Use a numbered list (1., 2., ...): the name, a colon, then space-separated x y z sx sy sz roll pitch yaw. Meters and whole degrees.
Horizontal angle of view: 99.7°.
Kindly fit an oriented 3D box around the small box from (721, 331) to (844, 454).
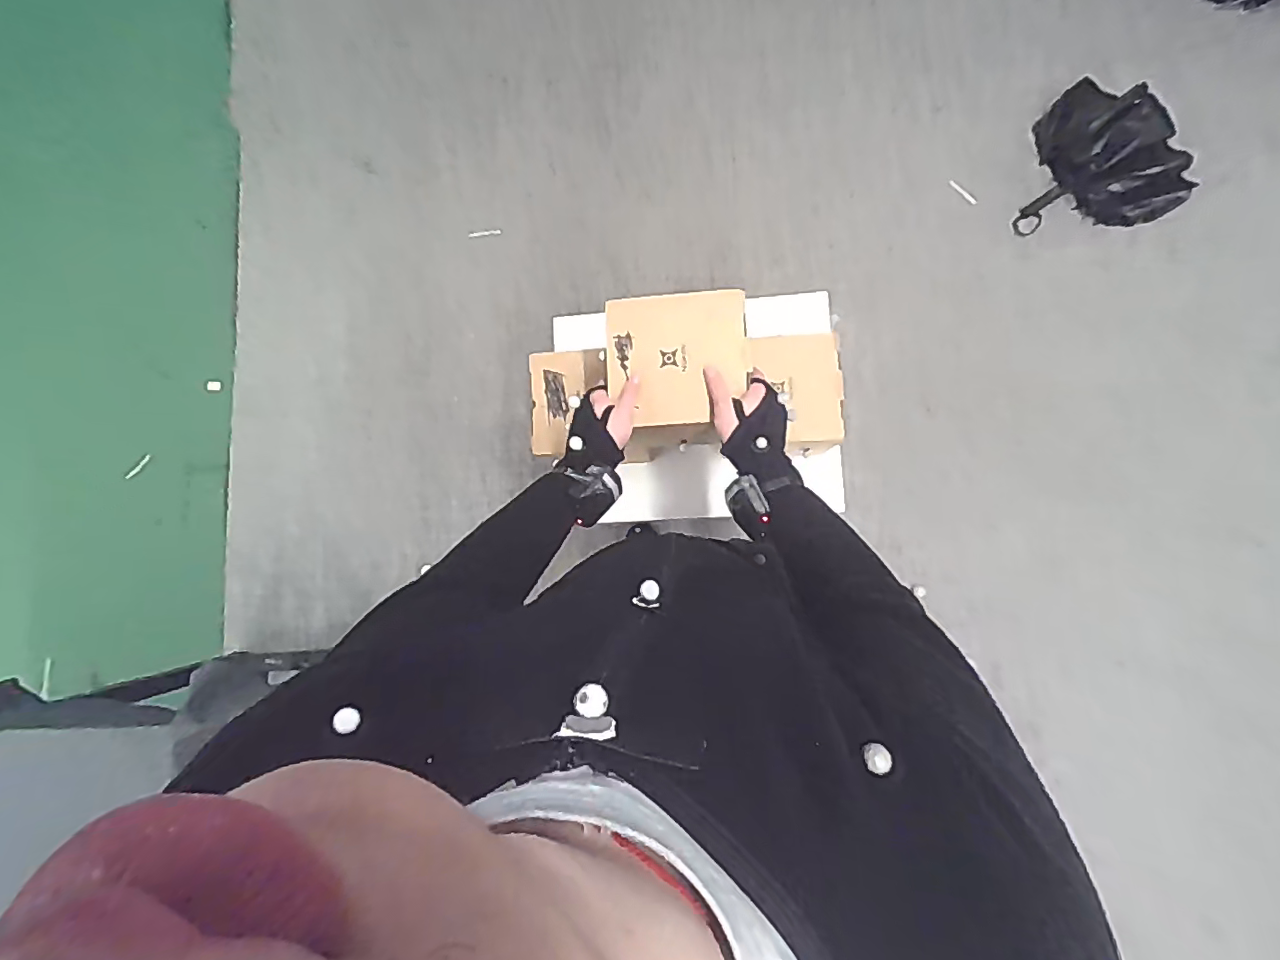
1. small box: 0.221 -0.134 0.884 0.179 0.176 0.168 -2 85 8

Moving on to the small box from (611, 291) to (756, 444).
1. small box: 0.058 -0.142 0.739 0.179 0.176 0.168 -2 86 5

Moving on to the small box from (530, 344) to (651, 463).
1. small box: -0.077 -0.121 0.914 0.179 0.176 0.168 -3 86 4
